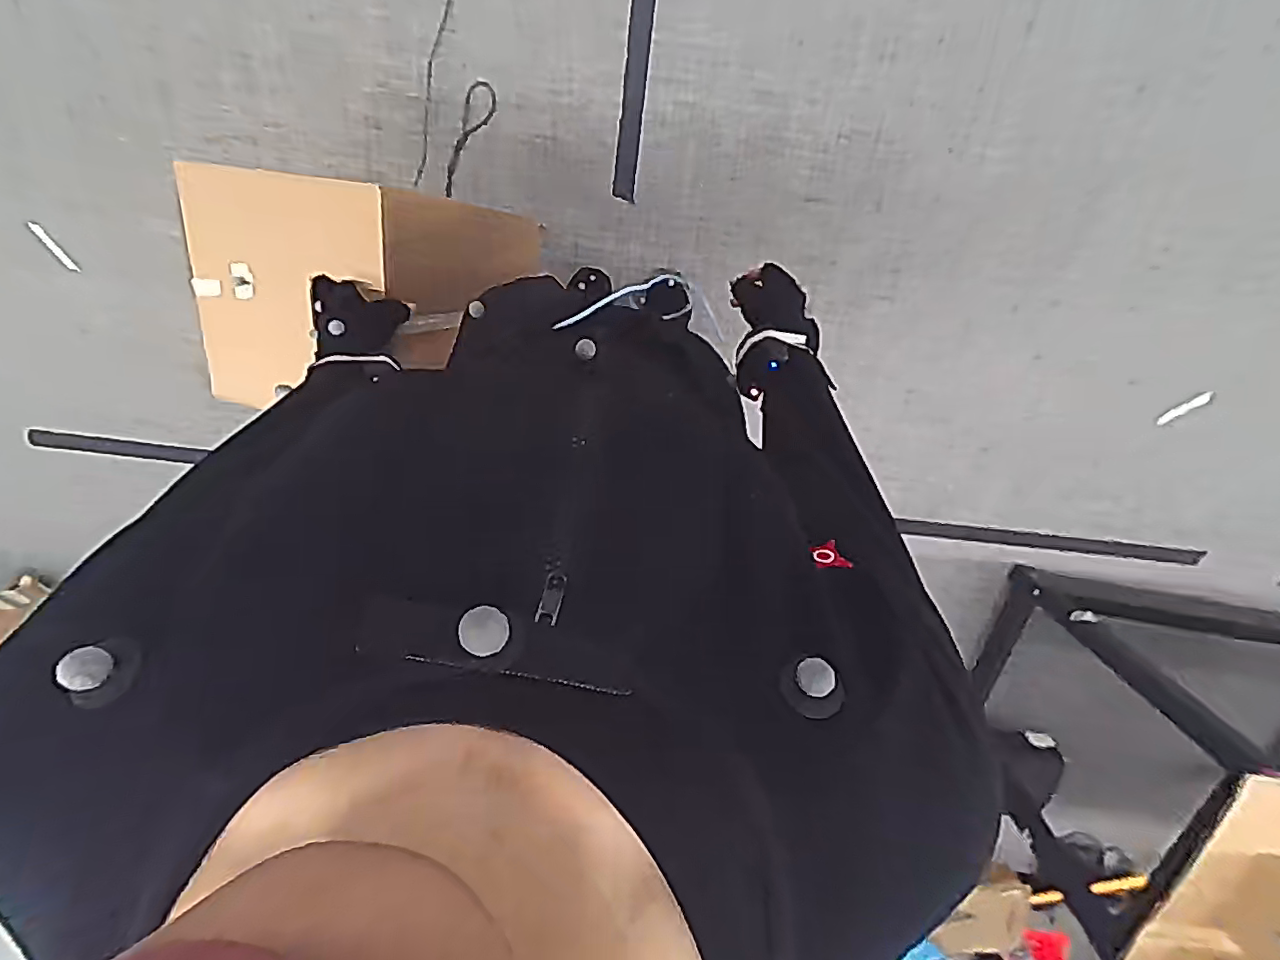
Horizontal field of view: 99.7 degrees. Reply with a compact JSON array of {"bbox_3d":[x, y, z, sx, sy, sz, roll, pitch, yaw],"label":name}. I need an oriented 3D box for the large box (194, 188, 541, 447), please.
[{"bbox_3d":[-0.396,-0.282,0.895,0.320,0.408,0.320,13,114,12],"label":"large box"}]
